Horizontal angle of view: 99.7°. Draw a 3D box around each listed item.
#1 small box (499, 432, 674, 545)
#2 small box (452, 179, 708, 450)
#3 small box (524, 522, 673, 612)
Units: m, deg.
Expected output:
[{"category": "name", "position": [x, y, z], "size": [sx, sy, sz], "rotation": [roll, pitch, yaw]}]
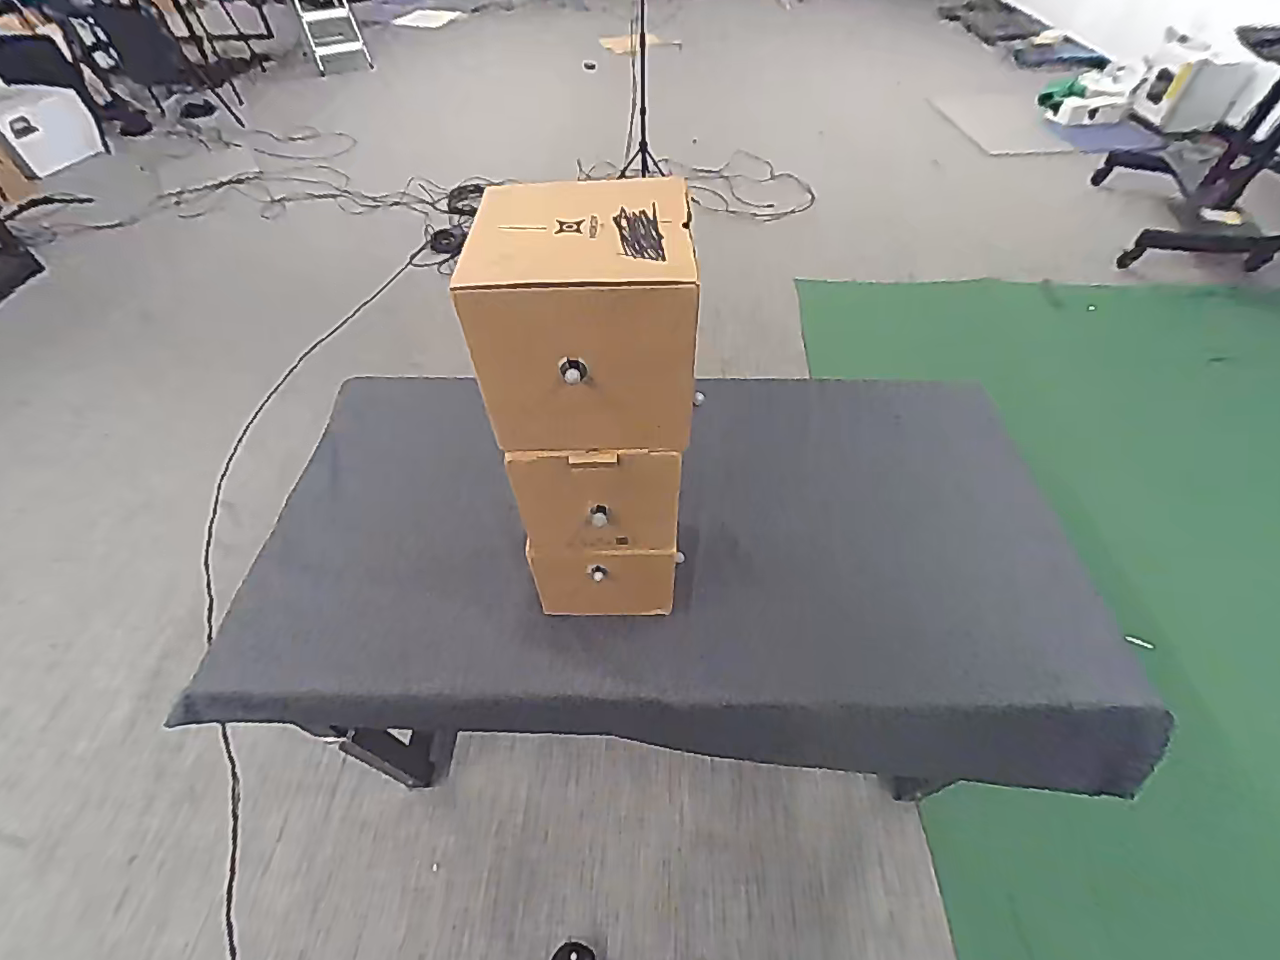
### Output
[{"category": "small box", "position": [-0.047, -0.037, 0.606], "size": [0.168, 0.176, 0.179], "rotation": [-1, 52, 0]}, {"category": "small box", "position": [-0.045, -0.140, 0.476], "size": [0.179, 0.176, 0.168], "rotation": [-3, 52, -2]}, {"category": "small box", "position": [-0.047, 0.069, 0.729], "size": [0.179, 0.176, 0.168], "rotation": [0, 52, 0]}]
